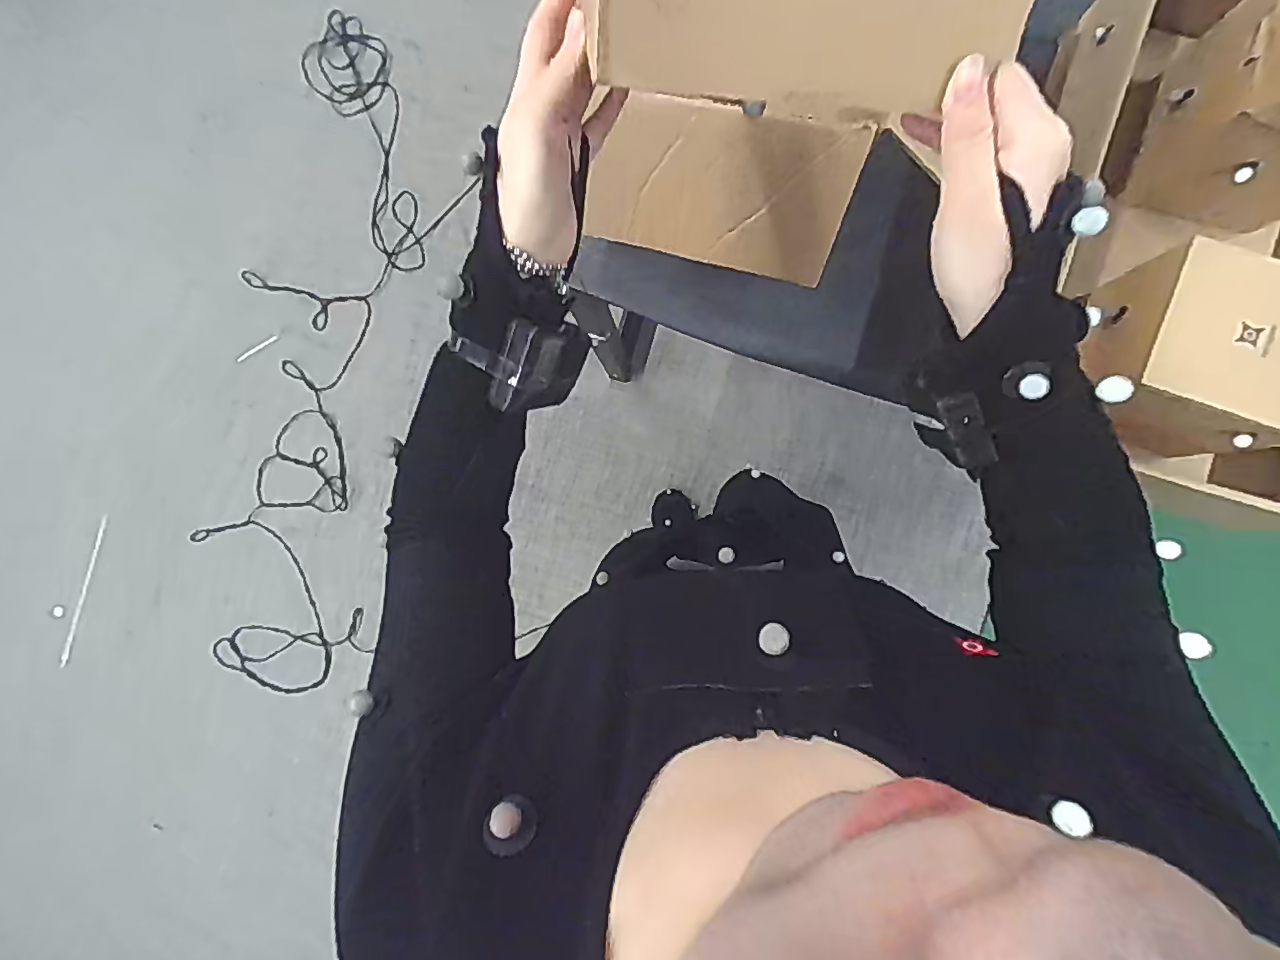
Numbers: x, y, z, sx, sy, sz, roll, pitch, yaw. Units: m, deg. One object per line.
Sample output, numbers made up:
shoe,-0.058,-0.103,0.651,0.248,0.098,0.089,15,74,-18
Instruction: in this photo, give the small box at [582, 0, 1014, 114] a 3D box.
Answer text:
small box,0.064,-0.284,0.233,0.179,0.168,0.176,-2,49,-9

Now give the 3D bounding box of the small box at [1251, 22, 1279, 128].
small box,0.703,-0.423,0.460,0.168,0.176,0.179,17,92,4
